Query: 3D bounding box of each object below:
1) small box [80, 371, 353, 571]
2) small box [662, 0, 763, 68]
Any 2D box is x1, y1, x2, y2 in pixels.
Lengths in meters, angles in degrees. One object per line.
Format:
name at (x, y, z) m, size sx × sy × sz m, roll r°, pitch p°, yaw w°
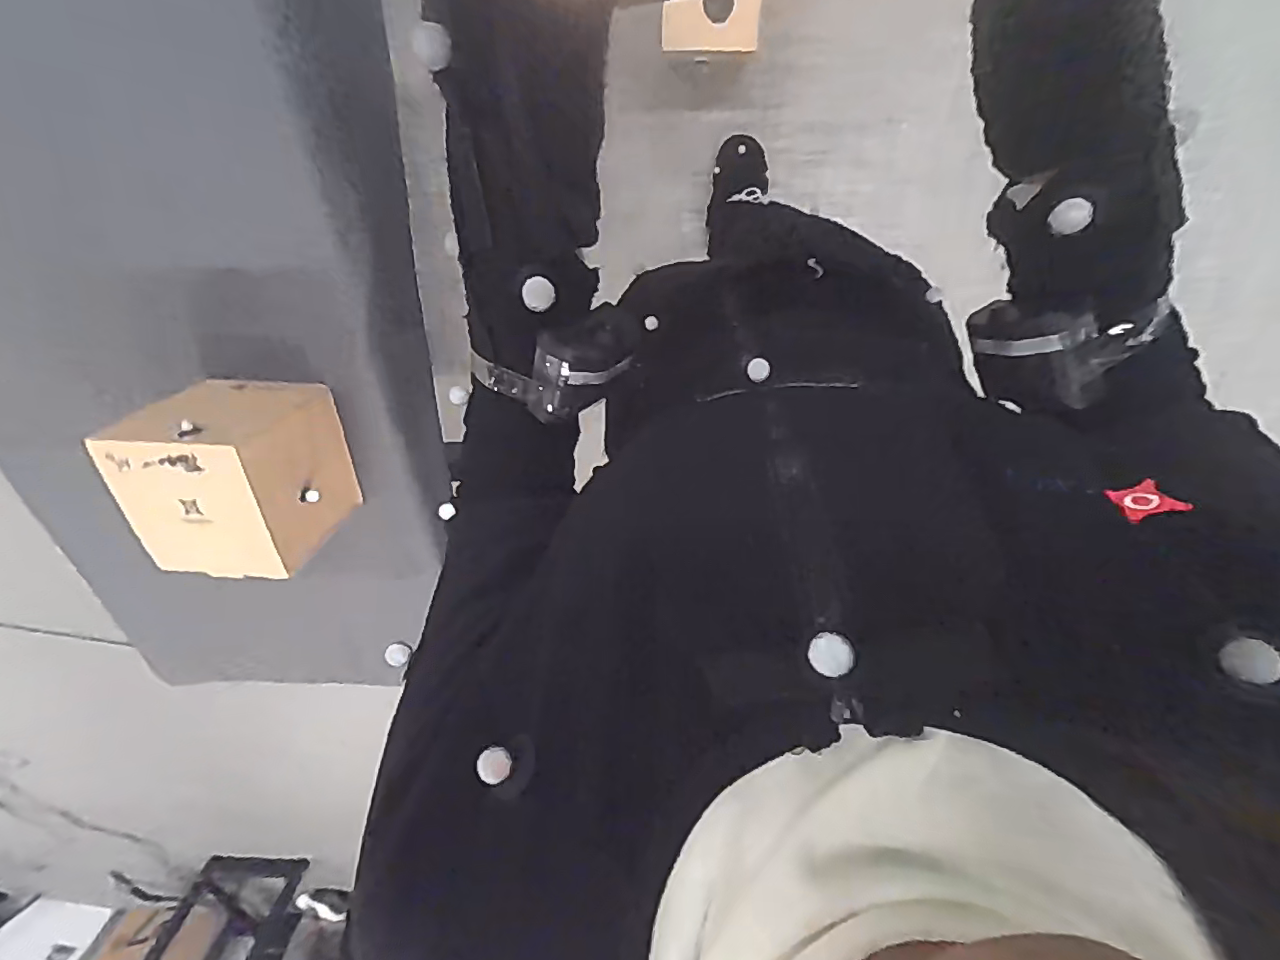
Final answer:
small box at (-0.480, -0.015, 0.653) m, size 0.168 × 0.176 × 0.179 m, roll 3°, pitch 122°, yaw 3°
small box at (0.127, -0.845, 0.949) m, size 0.168 × 0.176 × 0.179 m, roll 3°, pitch 123°, yaw 4°
